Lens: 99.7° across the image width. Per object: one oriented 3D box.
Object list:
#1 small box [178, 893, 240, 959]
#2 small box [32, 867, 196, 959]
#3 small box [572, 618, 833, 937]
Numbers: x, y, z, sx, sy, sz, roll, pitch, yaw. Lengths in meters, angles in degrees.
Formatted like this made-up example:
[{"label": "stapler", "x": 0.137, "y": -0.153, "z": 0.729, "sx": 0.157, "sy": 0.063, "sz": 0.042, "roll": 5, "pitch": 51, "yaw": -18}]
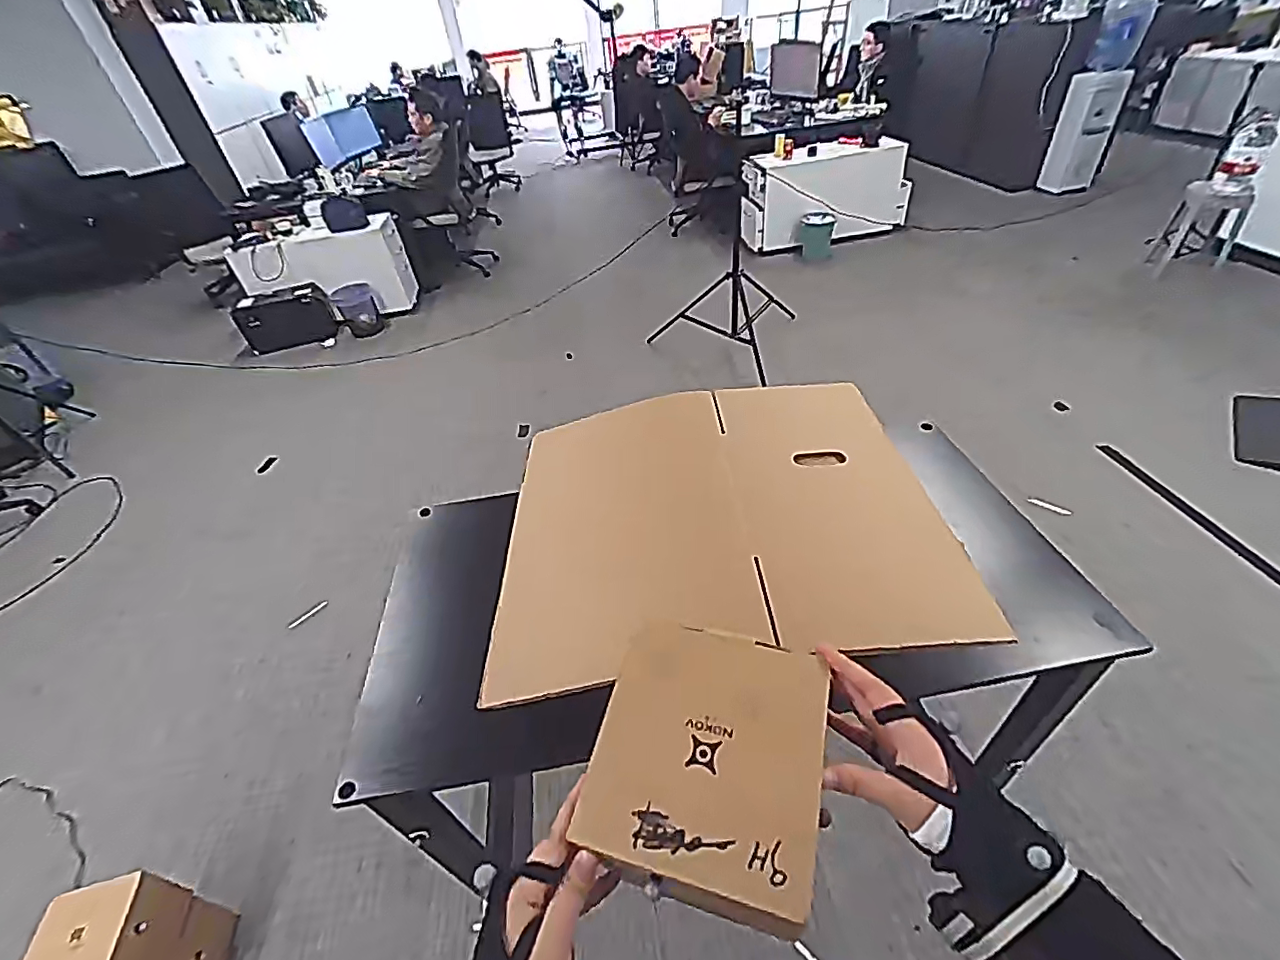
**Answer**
[{"label": "small box", "x": -1.018, "y": 1.041, "z": 1.174, "sx": 0.168, "sy": 0.176, "sz": 0.179, "roll": -12, "pitch": 42, "yaw": -5}, {"label": "small box", "x": -1.038, "y": 0.916, "z": 1.073, "sx": 0.168, "sy": 0.176, "sz": 0.179, "roll": -14, "pitch": 40, "yaw": -8}, {"label": "small box", "x": 0.064, "y": 0.250, "z": 0.463, "sx": 0.168, "sy": 0.176, "sz": 0.179, "roll": 7, "pitch": 49, "yaw": 19}]
